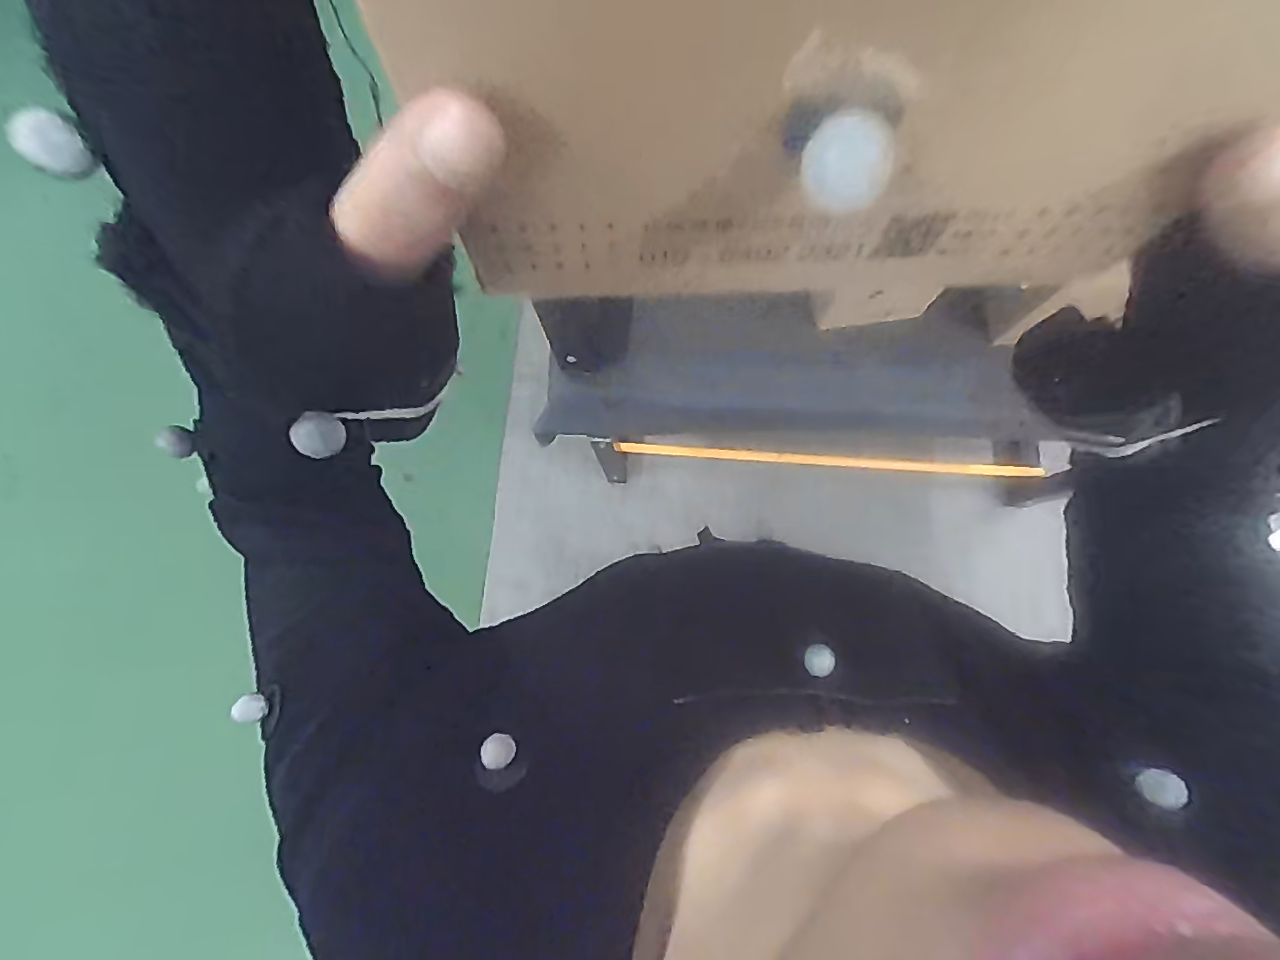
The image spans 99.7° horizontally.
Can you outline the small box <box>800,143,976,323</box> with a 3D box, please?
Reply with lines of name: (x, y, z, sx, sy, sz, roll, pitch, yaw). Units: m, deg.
small box: (0.348, -0.347, 0.794, 0.168, 0.176, 0.179, -7, 77, 0)
